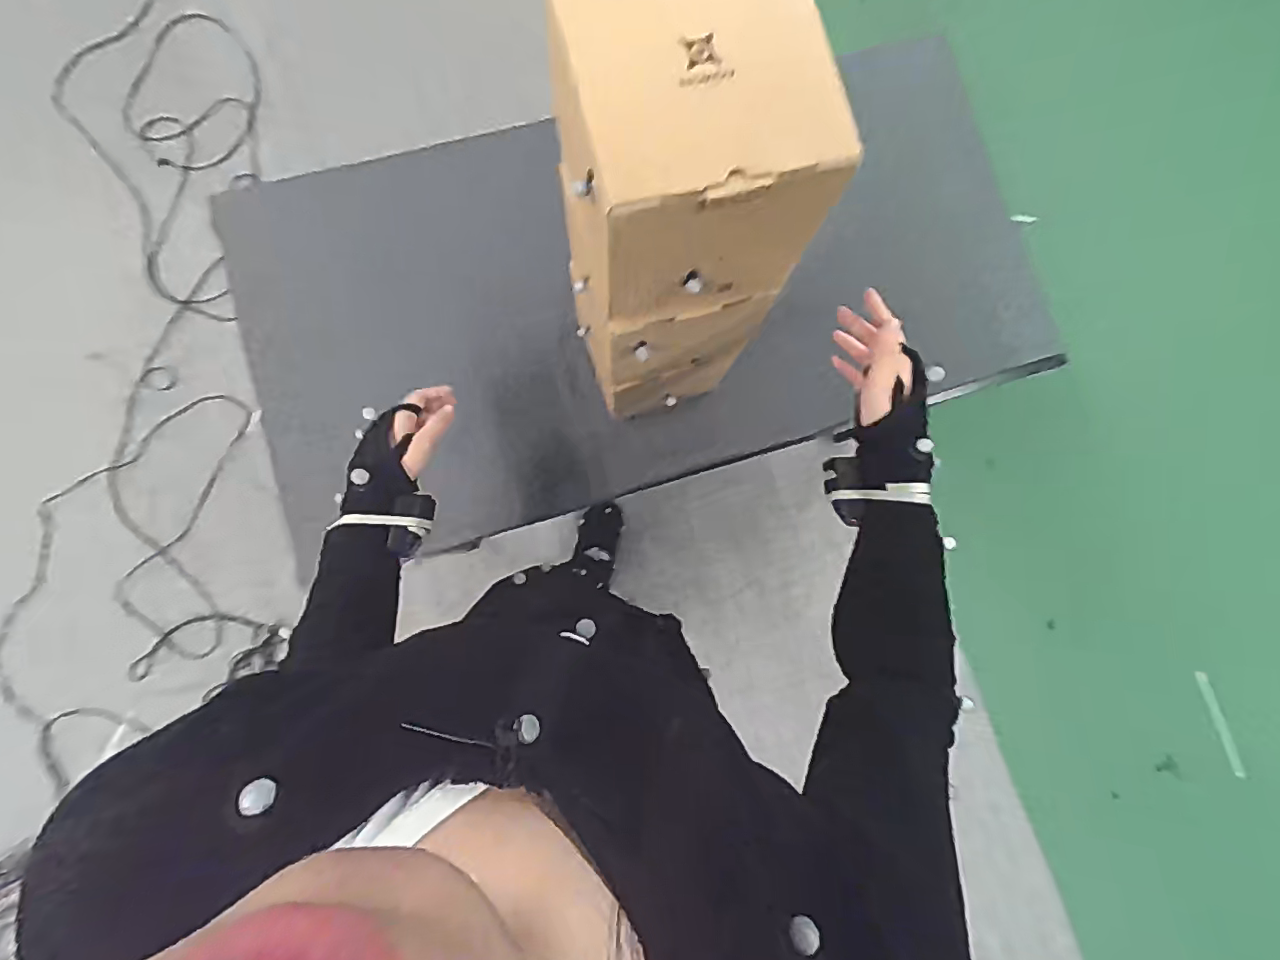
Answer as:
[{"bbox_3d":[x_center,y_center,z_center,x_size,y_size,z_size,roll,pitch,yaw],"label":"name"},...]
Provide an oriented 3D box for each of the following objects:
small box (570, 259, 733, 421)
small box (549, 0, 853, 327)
[{"bbox_3d":[0.008,-0.200,0.748,0.168,0.176,0.179,-19,85,-5],"label":"small box"},{"bbox_3d":[0.031,-0.248,0.426,0.168,0.176,0.179,-15,85,-6],"label":"small box"}]
